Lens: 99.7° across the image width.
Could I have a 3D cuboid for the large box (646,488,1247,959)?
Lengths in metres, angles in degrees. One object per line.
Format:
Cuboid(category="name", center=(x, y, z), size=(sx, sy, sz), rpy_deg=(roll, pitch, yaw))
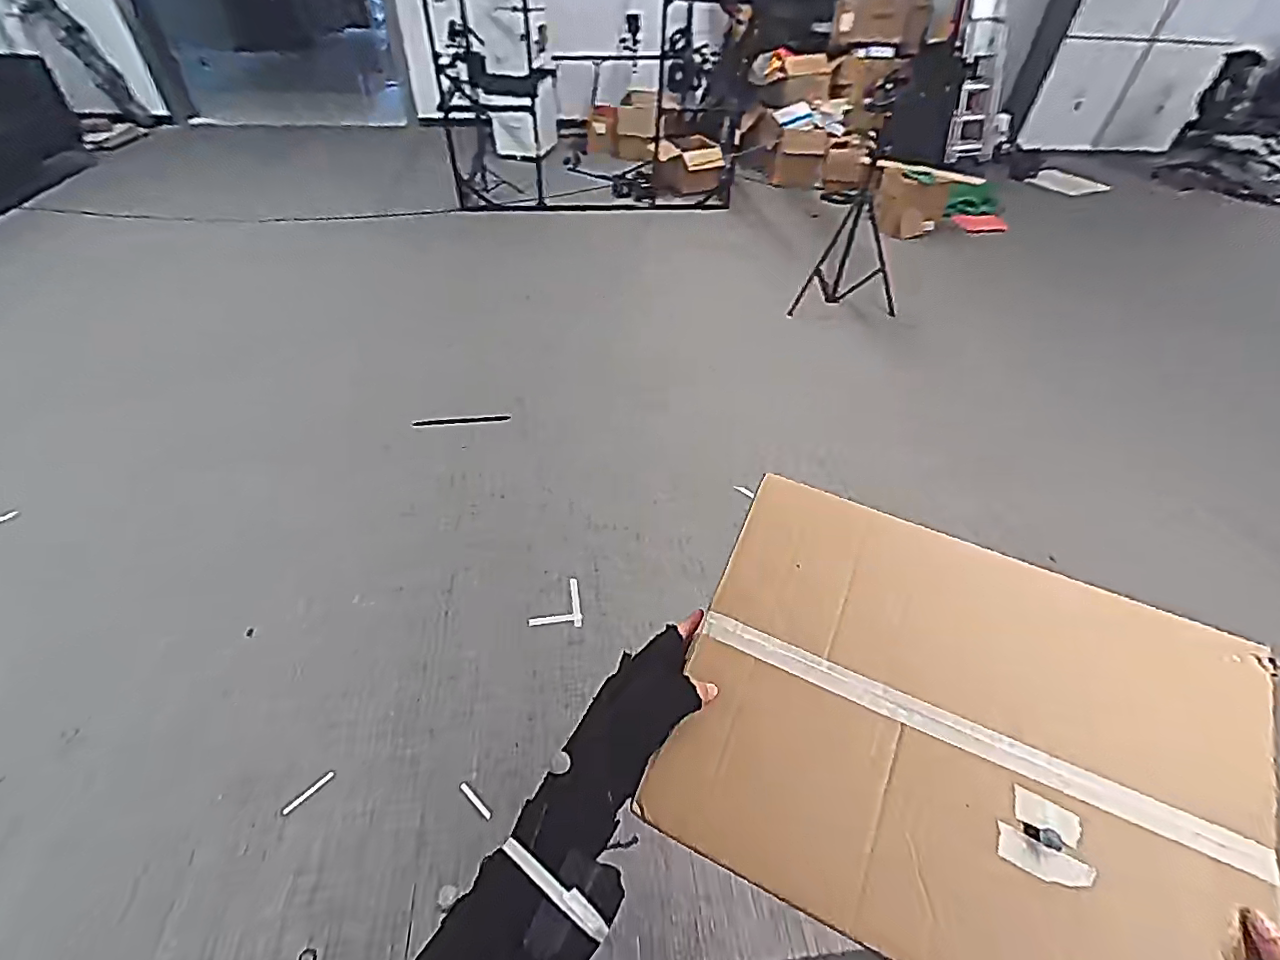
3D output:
Cuboid(category="large box", center=(0.252, 0.263, 0.561), size=(0.408, 0.320, 0.320), rpy_deg=(21, 68, 15))
